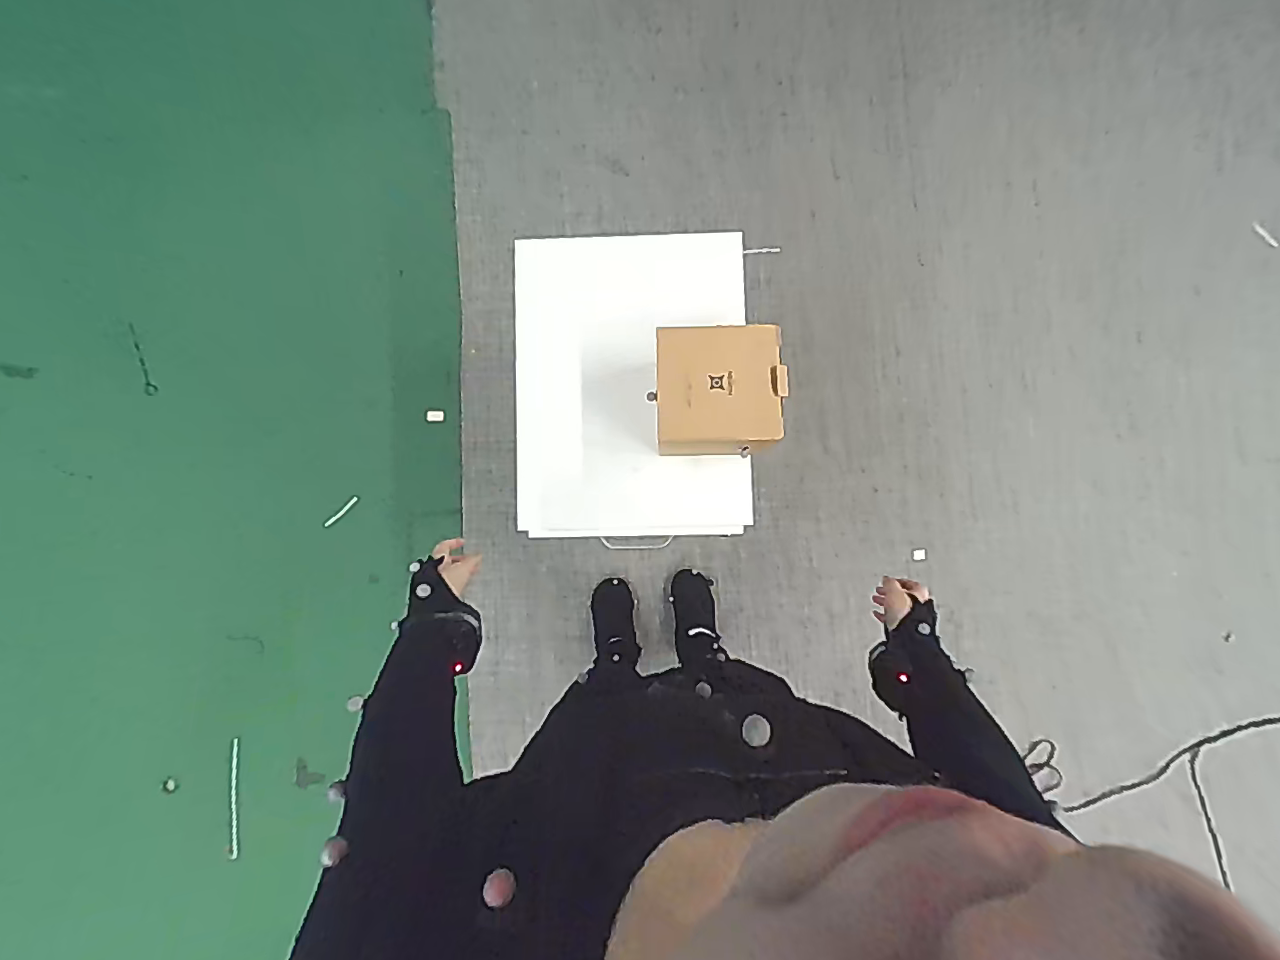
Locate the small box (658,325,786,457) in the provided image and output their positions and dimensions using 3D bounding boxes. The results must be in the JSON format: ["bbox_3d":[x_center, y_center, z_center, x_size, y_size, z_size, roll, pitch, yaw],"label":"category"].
[{"bbox_3d":[0.117,-0.128,0.830,0.179,0.176,0.168,-1,85,3],"label":"small box"}]
